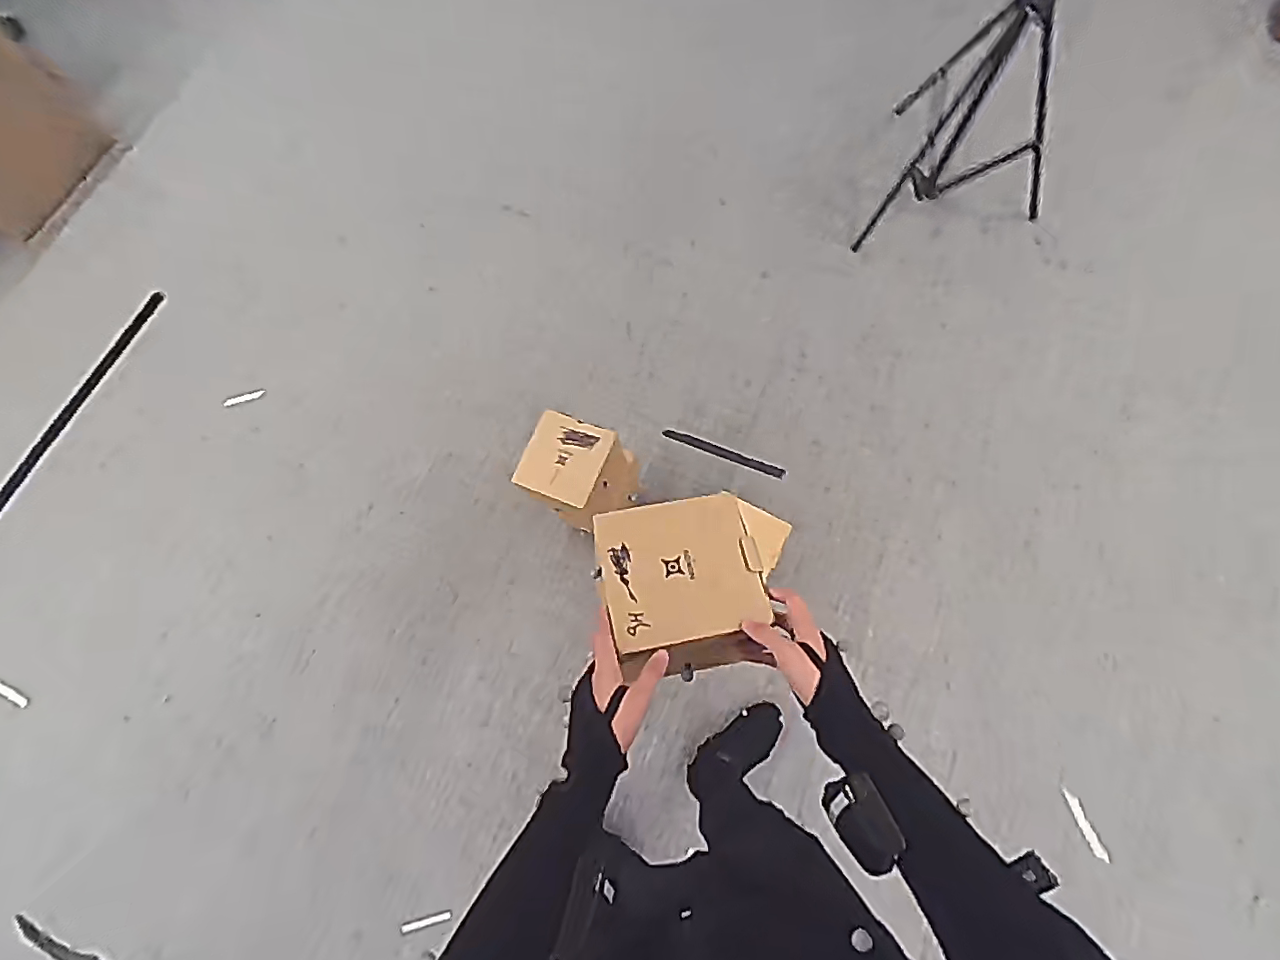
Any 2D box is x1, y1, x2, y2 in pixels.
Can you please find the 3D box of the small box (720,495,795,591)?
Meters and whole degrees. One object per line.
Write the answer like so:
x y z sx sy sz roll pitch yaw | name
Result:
0.232 0.161 1.263 0.179 0.176 0.168 27 77 11 | small box

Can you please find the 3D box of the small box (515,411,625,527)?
-0.140 -0.017 1.170 0.168 0.176 0.179 21 77 11 | small box

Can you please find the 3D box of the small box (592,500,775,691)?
0.039 0.146 0.665 0.179 0.176 0.168 -9 59 -8 | small box

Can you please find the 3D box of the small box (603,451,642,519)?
-0.105 0.015 1.330 0.179 0.176 0.168 17 75 9 | small box

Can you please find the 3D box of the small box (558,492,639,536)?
-0.107 0.060 1.488 0.168 0.176 0.179 18 76 10 | small box
